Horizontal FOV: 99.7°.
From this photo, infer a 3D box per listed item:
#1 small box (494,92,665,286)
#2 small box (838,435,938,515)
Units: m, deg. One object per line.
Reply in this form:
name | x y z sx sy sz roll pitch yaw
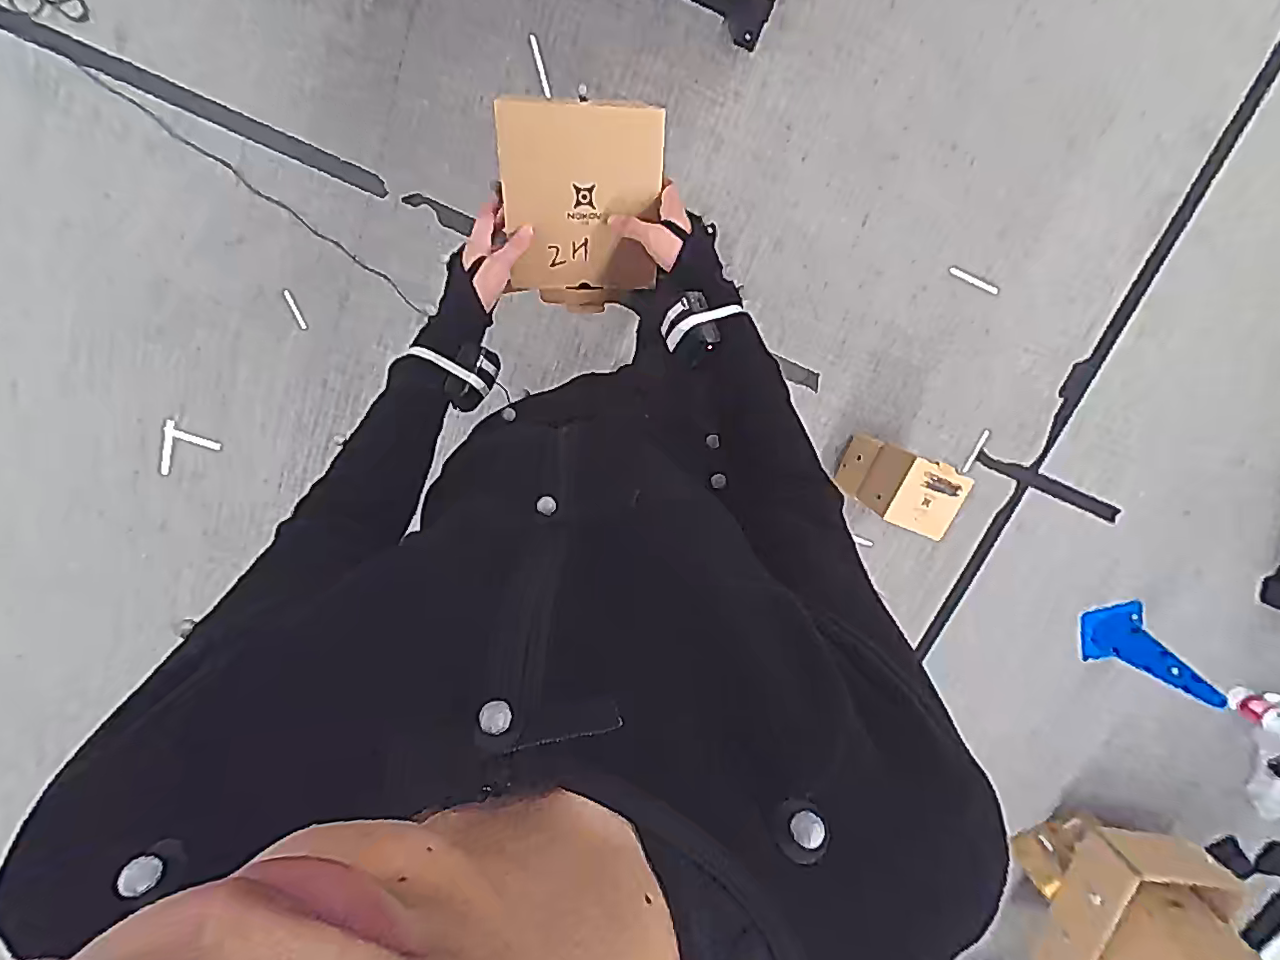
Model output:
small box | -0.071 -0.335 0.621 0.168 0.176 0.179 -3 127 -7
small box | 0.699 -0.022 1.552 0.179 0.176 0.168 18 105 -6
